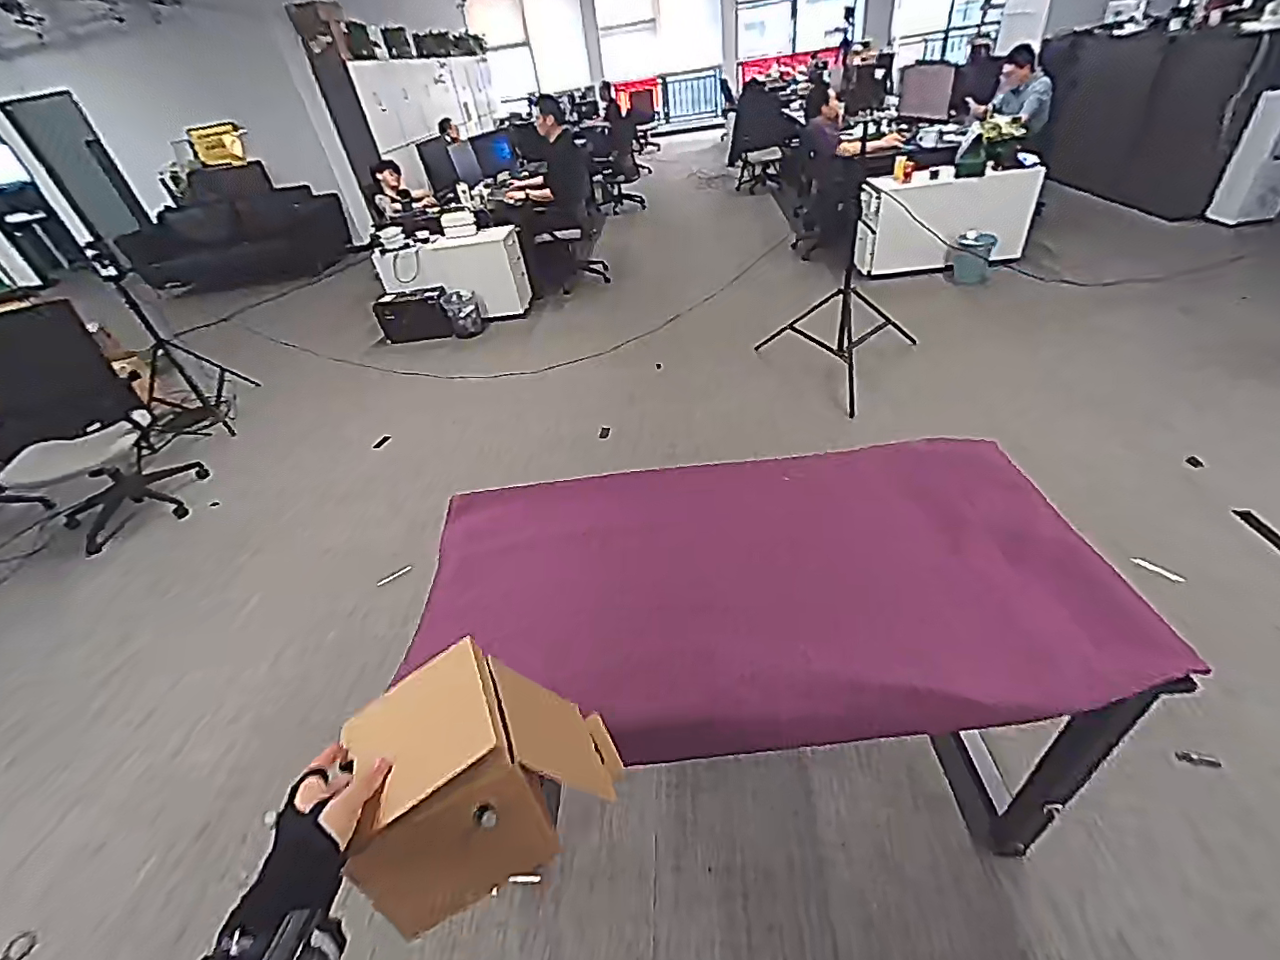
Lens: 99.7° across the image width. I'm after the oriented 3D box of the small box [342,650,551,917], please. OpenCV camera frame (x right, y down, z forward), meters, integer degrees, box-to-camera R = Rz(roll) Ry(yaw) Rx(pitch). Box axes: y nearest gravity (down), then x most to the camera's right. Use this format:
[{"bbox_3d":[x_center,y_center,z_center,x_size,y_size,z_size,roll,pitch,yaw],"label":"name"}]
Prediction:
[{"bbox_3d":[-0.213,0.340,0.622,0.179,0.176,0.168,-22,30,-17],"label":"small box"}]
